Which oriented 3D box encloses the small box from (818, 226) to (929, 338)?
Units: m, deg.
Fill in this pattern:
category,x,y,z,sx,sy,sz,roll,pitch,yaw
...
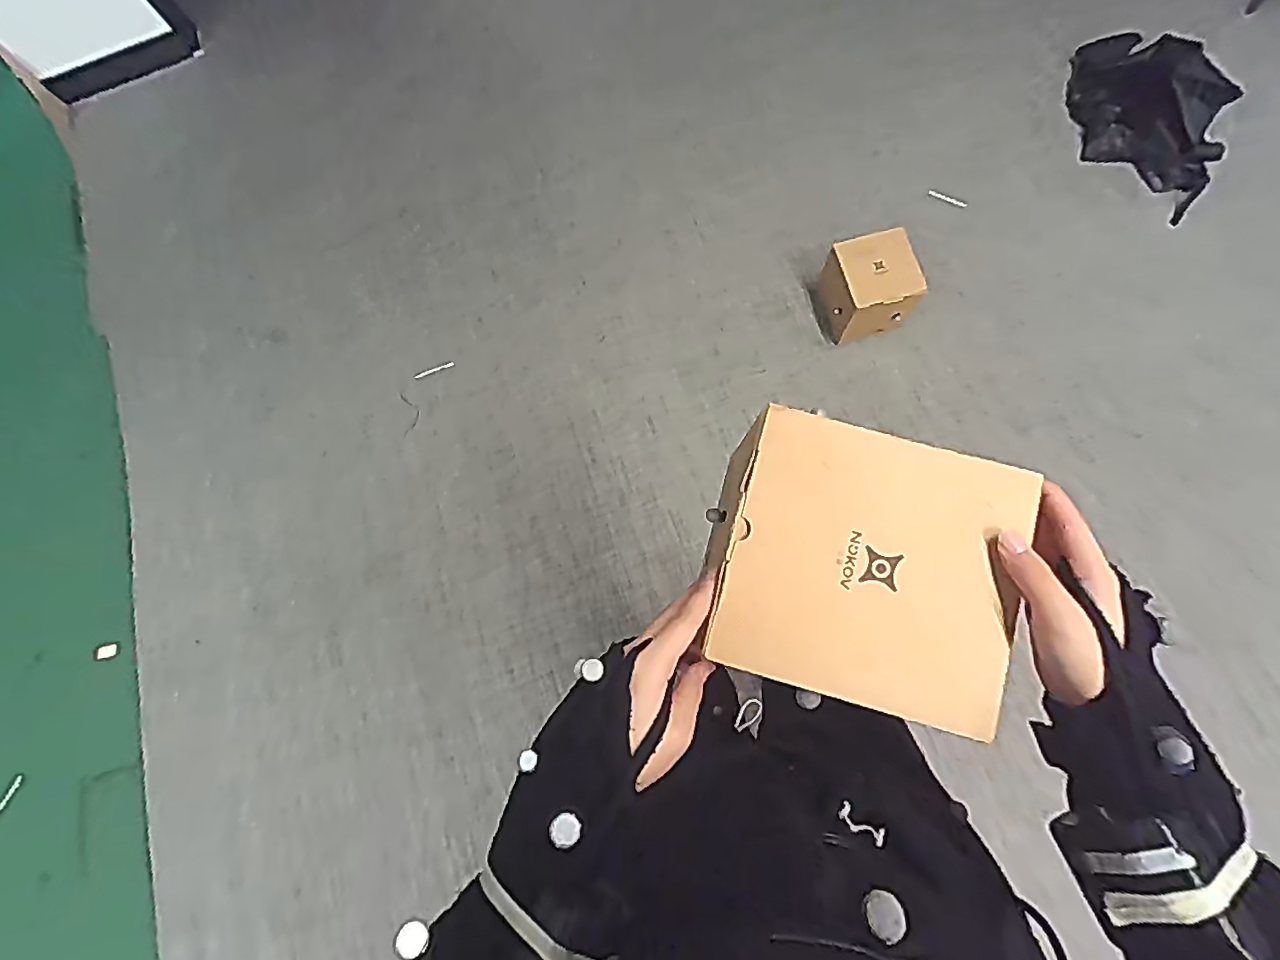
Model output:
category,x,y,z,sx,sy,sz,roll,pitch,yaw
small box,0.541,-0.455,1.276,0.168,0.176,0.179,-14,74,1
